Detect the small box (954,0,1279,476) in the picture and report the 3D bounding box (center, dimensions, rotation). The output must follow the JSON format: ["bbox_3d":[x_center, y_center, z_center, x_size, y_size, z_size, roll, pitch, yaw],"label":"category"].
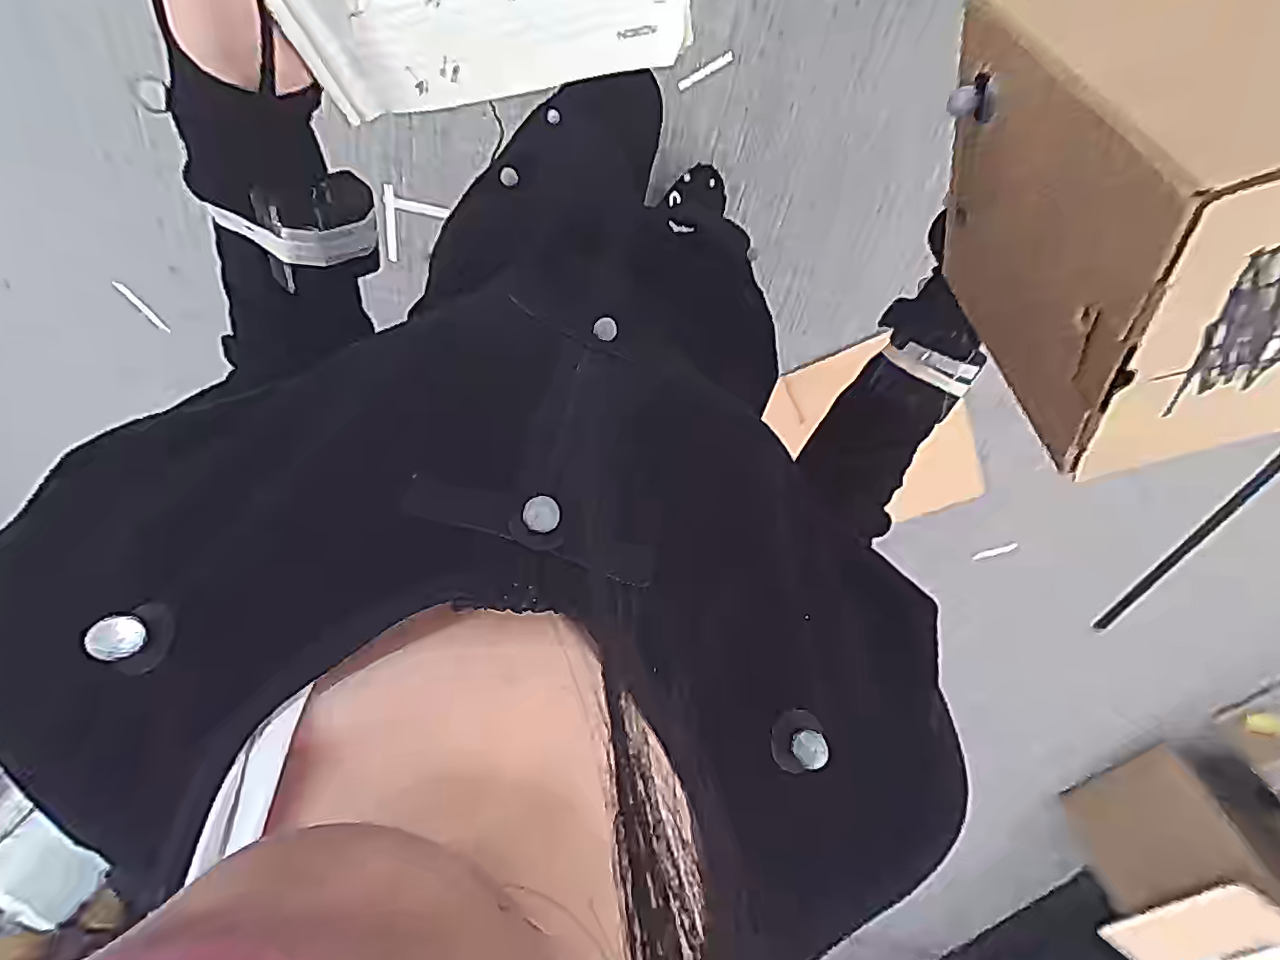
[{"bbox_3d":[0.258,-0.131,0.229,0.179,0.176,0.168,-17,146,17],"label":"small box"}]
